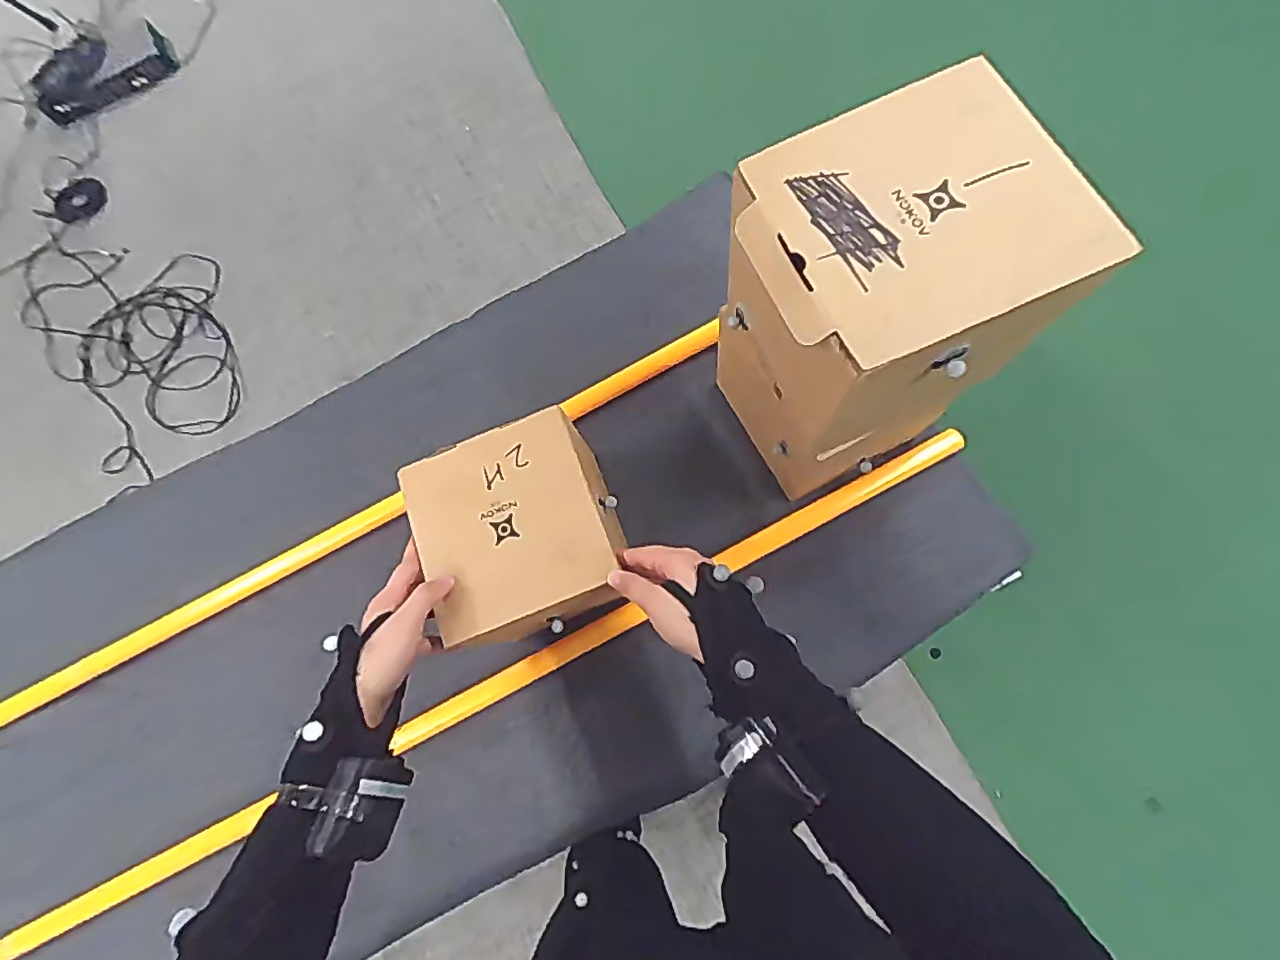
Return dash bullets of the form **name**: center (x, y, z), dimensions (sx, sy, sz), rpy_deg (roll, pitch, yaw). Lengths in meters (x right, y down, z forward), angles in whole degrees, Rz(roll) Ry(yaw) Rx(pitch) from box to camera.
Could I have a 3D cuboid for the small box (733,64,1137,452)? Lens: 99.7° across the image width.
- **small box**: center (0.180, -0.141, 0.400), dimensions (0.179, 0.176, 0.168), rpy_deg (-24, 75, 0)
